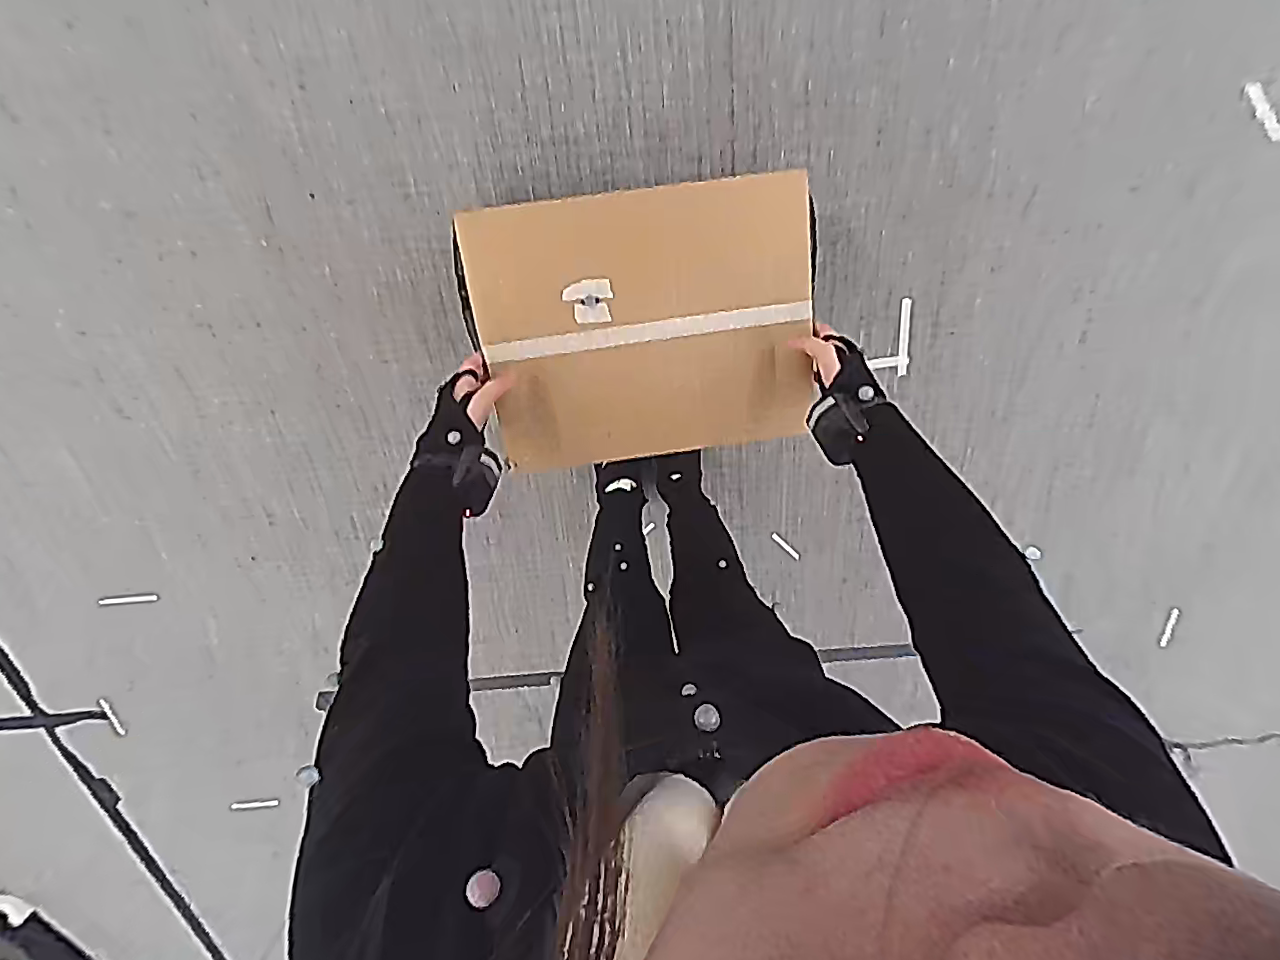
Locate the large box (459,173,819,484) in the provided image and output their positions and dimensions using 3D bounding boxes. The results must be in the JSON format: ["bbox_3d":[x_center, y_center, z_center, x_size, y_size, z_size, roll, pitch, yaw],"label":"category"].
[{"bbox_3d":[0.006,-0.216,0.787,0.408,0.320,0.320,-9,108,-1],"label":"large box"}]

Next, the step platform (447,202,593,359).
[{"bbox_3d":[-0.022,-0.385,1.077,0.684,0.204,0.286,1,113,-2],"label":"step platform"}]
